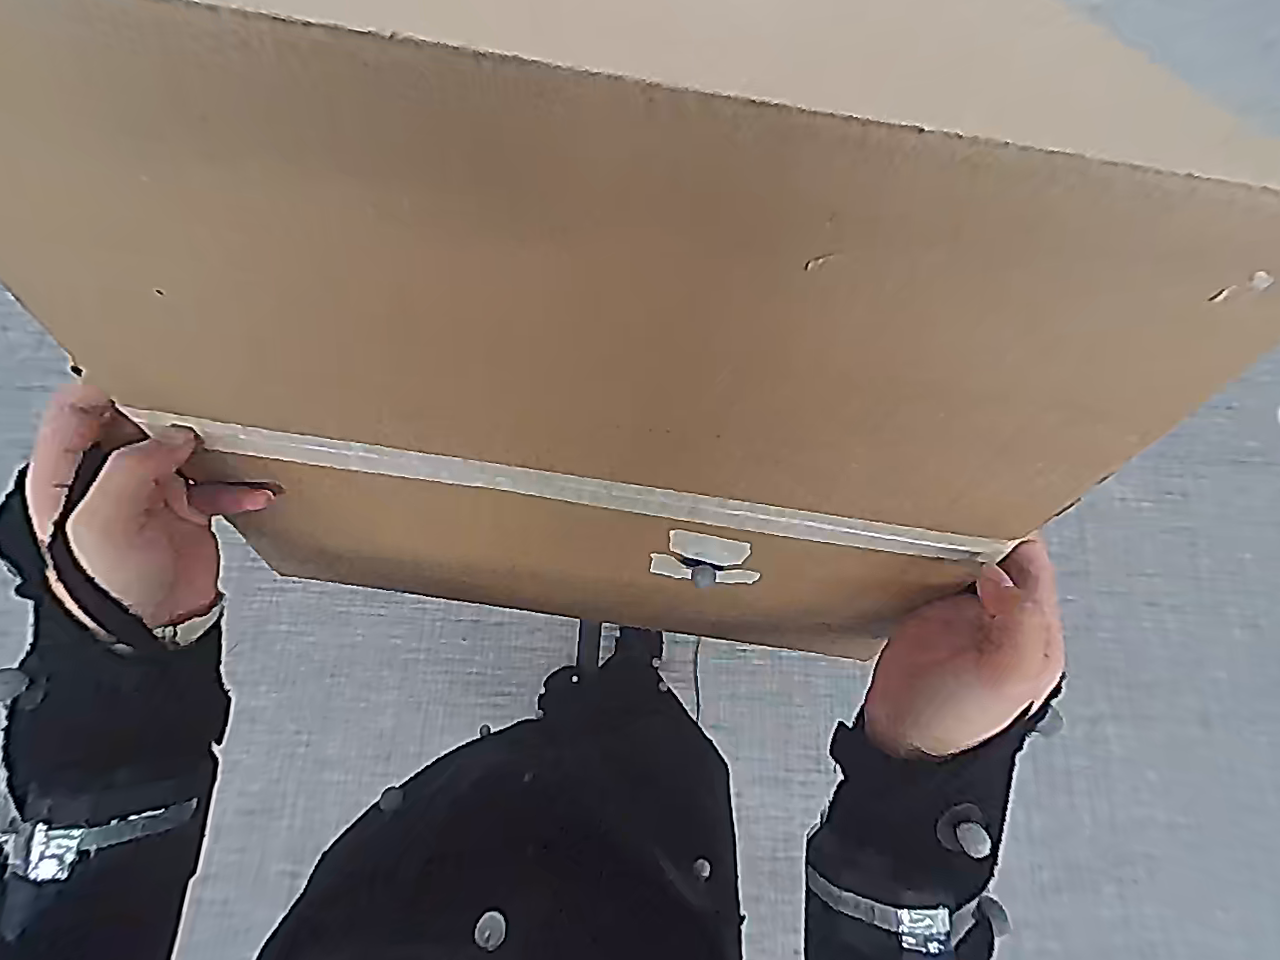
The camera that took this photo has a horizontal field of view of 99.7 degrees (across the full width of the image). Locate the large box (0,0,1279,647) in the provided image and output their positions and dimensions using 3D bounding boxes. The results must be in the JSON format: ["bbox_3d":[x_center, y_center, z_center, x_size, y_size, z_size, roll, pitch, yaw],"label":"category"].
[{"bbox_3d":[-0.013,-0.118,0.349,0.408,0.320,0.320,8,53,-2],"label":"large box"}]
